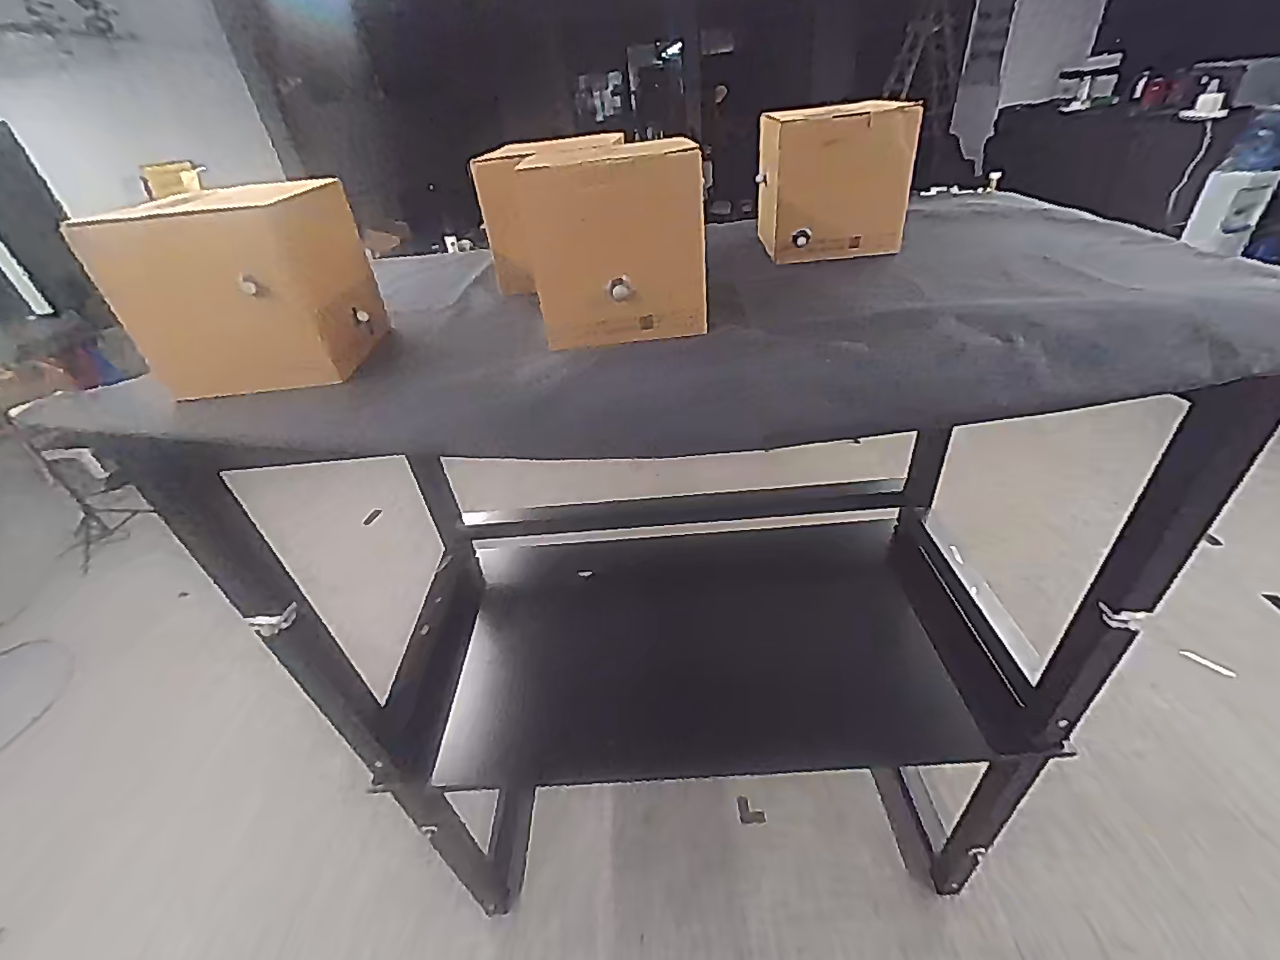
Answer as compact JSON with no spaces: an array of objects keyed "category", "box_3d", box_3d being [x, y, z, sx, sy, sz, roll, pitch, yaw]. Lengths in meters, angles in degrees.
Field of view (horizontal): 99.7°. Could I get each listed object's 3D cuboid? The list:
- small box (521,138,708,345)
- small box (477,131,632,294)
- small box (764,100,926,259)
[{"category":"small box","box_3d":[-0.018,-0.257,0.581,0.168,0.176,0.179,-5,35,2]},{"category":"small box","box_3d":[-0.098,-0.372,0.754,0.179,0.176,0.168,-2,37,7]},{"category":"small box","box_3d":[0.267,-0.411,0.748,0.168,0.176,0.179,-3,36,5]}]
